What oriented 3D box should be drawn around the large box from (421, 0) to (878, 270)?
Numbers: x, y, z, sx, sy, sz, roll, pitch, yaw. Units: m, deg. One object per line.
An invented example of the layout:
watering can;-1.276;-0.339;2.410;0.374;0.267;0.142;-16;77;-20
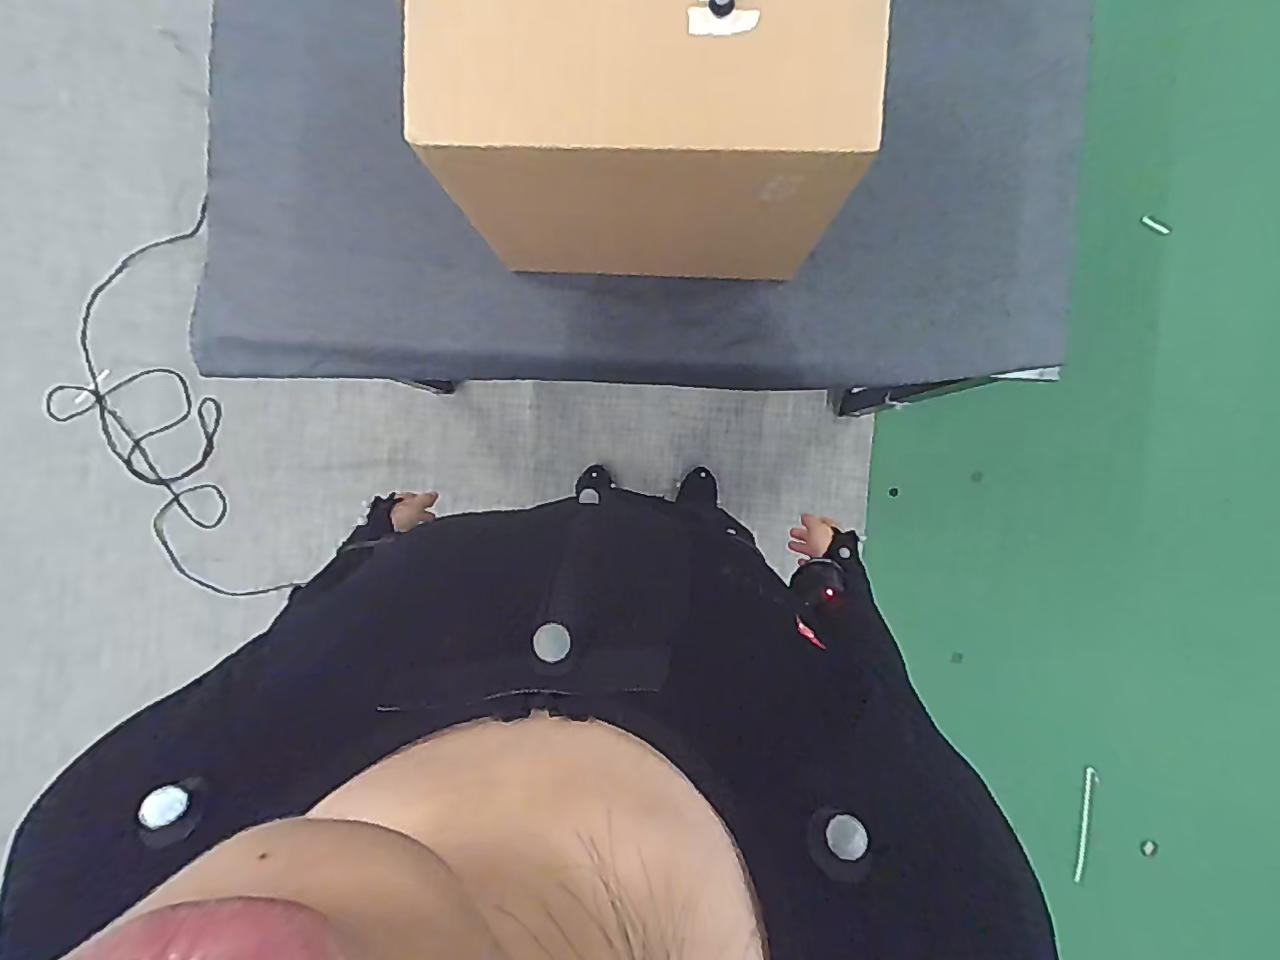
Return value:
large box;0.010;-0.446;0.616;0.408;0.320;0.320;2;92;2
